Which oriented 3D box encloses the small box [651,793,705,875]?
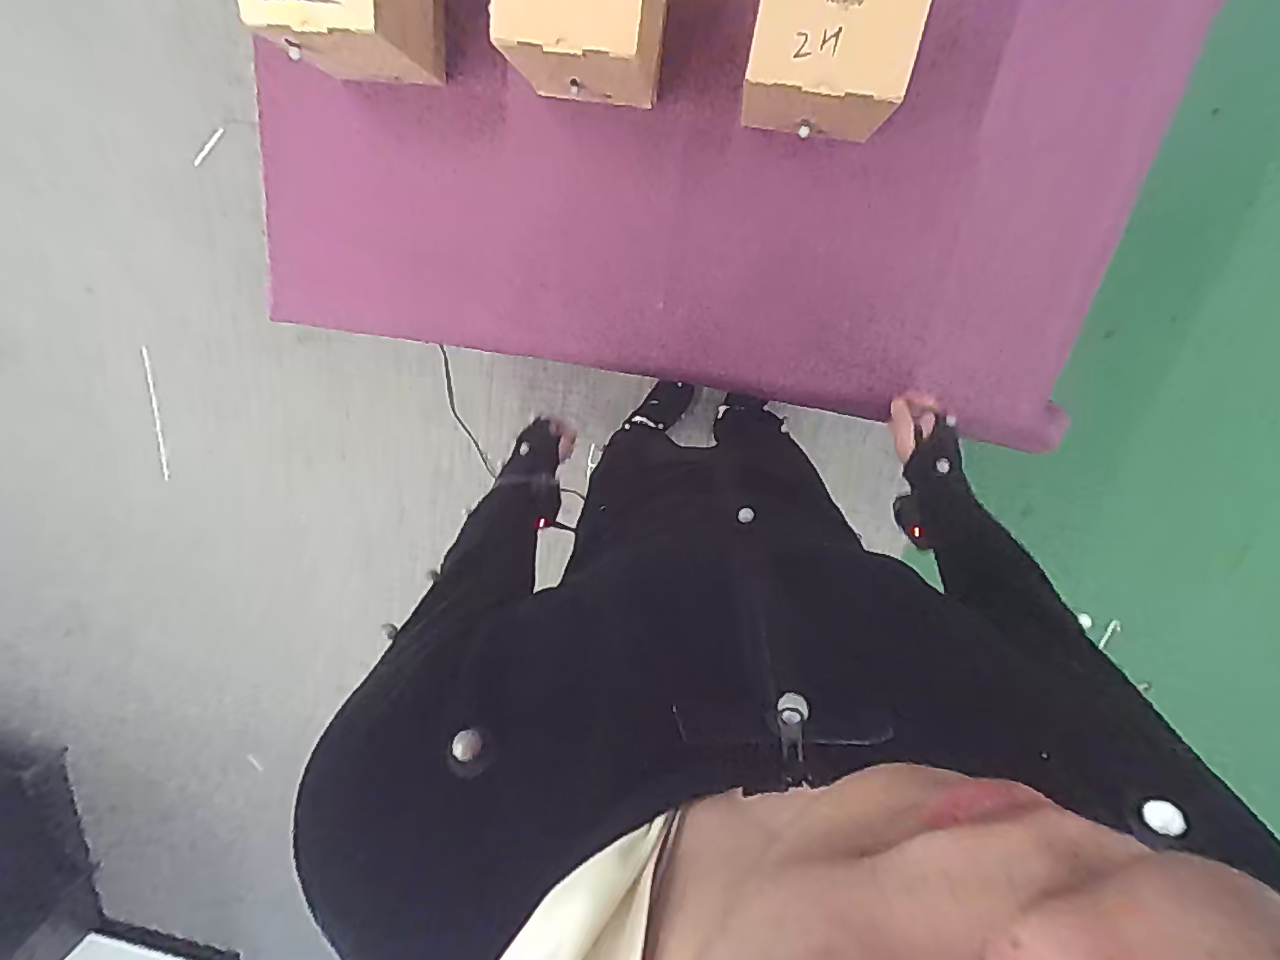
[{"bbox_3d":[0.147,1.327,2.034,0.168,0.176,0.179,12,112,5],"label":"small box"}]

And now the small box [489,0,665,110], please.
[{"bbox_3d":[-0.065,-0.571,0.639,0.168,0.176,0.179,10,111,6],"label":"small box"}]

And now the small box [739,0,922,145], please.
[{"bbox_3d":[0.209,-0.509,0.613,0.168,0.176,0.179,12,111,6],"label":"small box"}]
